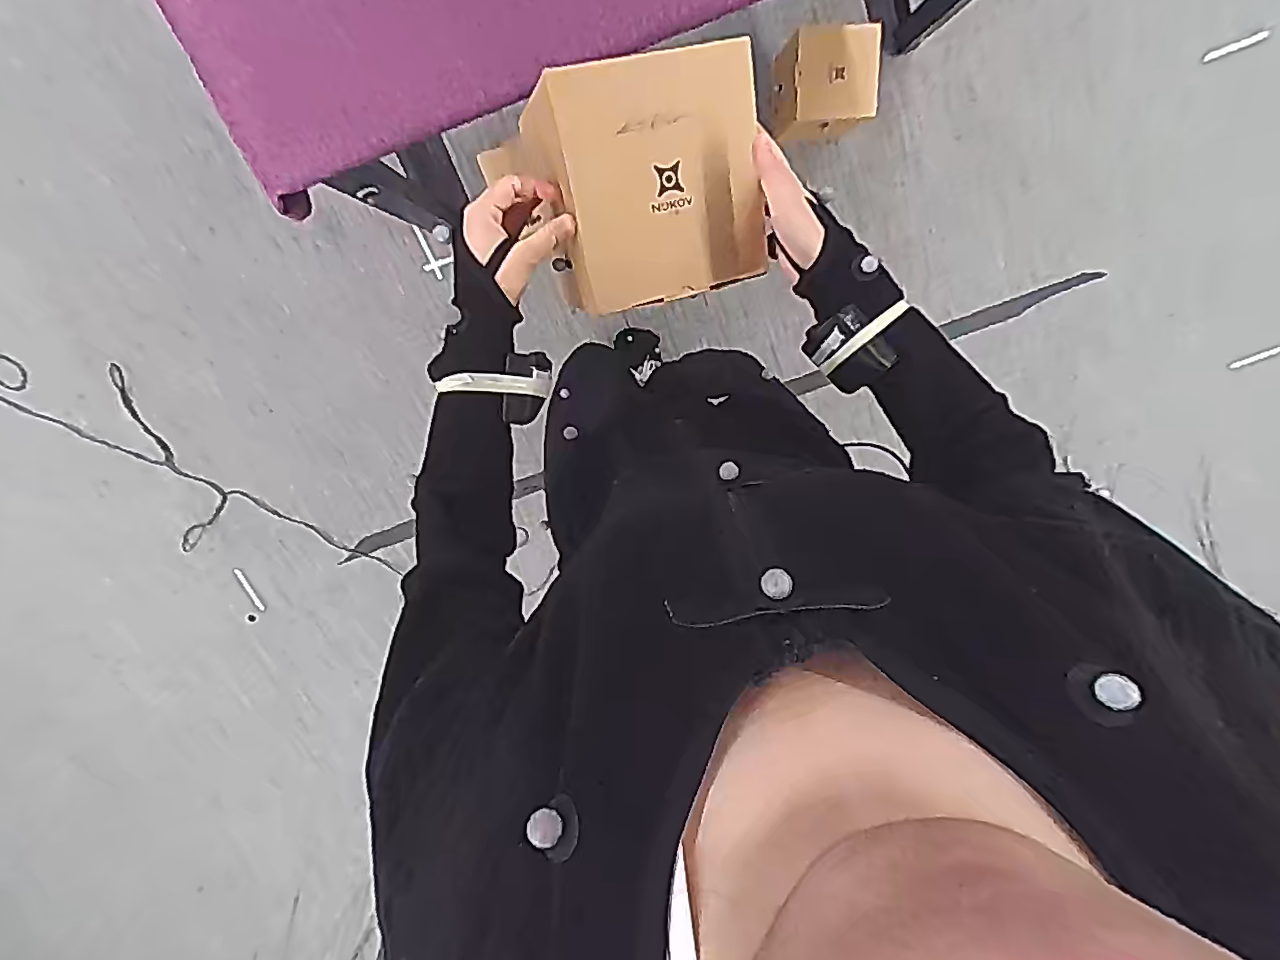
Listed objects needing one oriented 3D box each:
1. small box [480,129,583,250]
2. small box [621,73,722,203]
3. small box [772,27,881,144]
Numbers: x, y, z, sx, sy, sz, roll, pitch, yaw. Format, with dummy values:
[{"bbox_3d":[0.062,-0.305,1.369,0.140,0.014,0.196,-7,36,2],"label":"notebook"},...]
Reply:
[{"bbox_3d":[-0.234,-0.638,1.210,0.168,0.176,0.179,-19,106,2],"label":"small box"},{"bbox_3d":[0.063,-0.744,1.198,0.168,0.176,0.179,-21,108,3],"label":"small box"},{"bbox_3d":[0.402,-0.858,1.188,0.179,0.176,0.168,-5,108,-2],"label":"small box"}]
